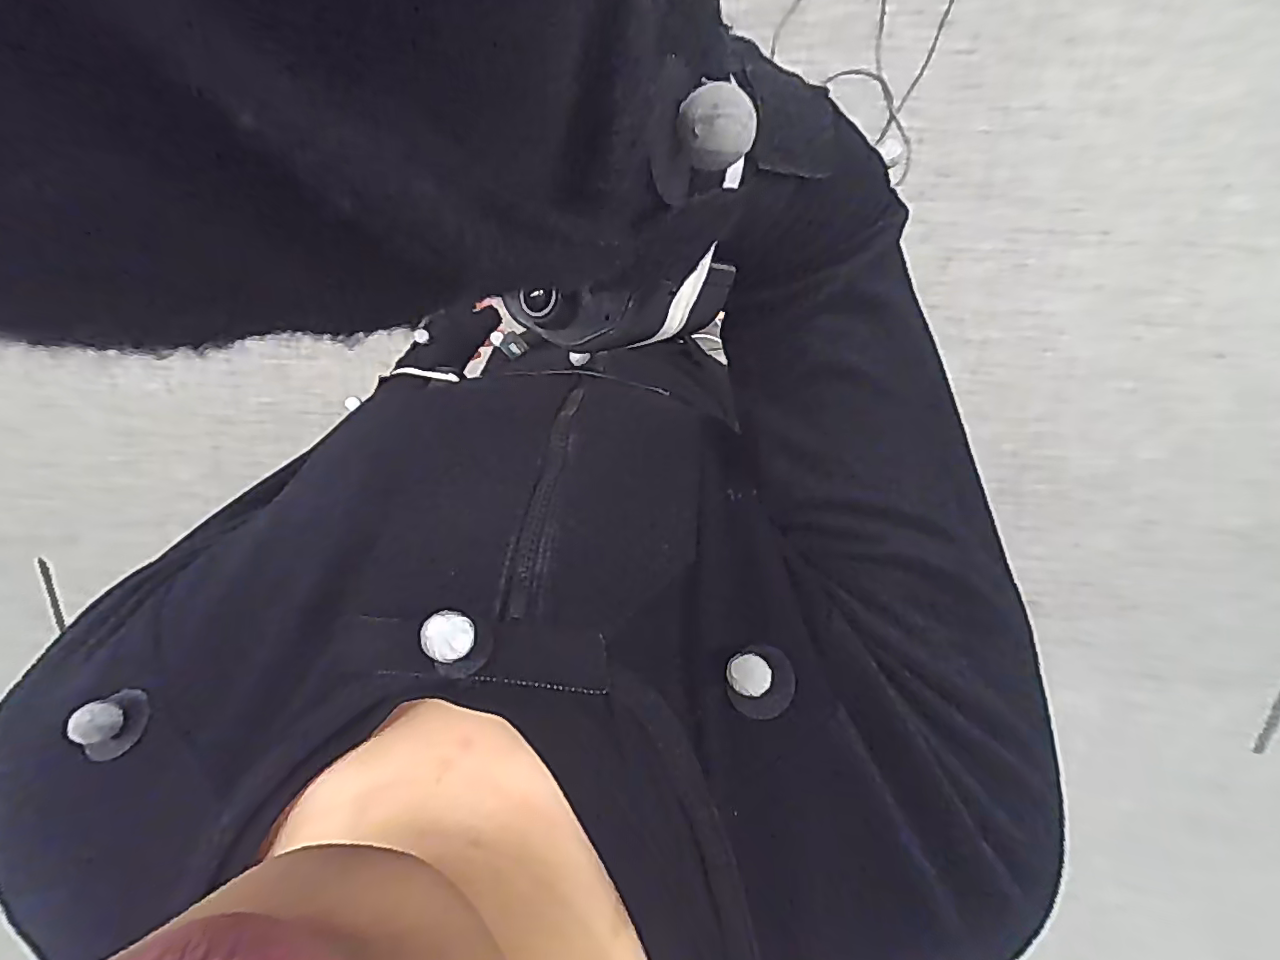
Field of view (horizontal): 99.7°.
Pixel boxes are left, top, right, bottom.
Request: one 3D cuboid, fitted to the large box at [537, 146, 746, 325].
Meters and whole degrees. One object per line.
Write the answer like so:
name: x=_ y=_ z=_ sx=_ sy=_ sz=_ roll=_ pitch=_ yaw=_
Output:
large box: x=0.009 y=-0.513 z=1.202 sx=0.408 sy=0.320 sz=0.320 roll=1 pitch=105 yaw=3
